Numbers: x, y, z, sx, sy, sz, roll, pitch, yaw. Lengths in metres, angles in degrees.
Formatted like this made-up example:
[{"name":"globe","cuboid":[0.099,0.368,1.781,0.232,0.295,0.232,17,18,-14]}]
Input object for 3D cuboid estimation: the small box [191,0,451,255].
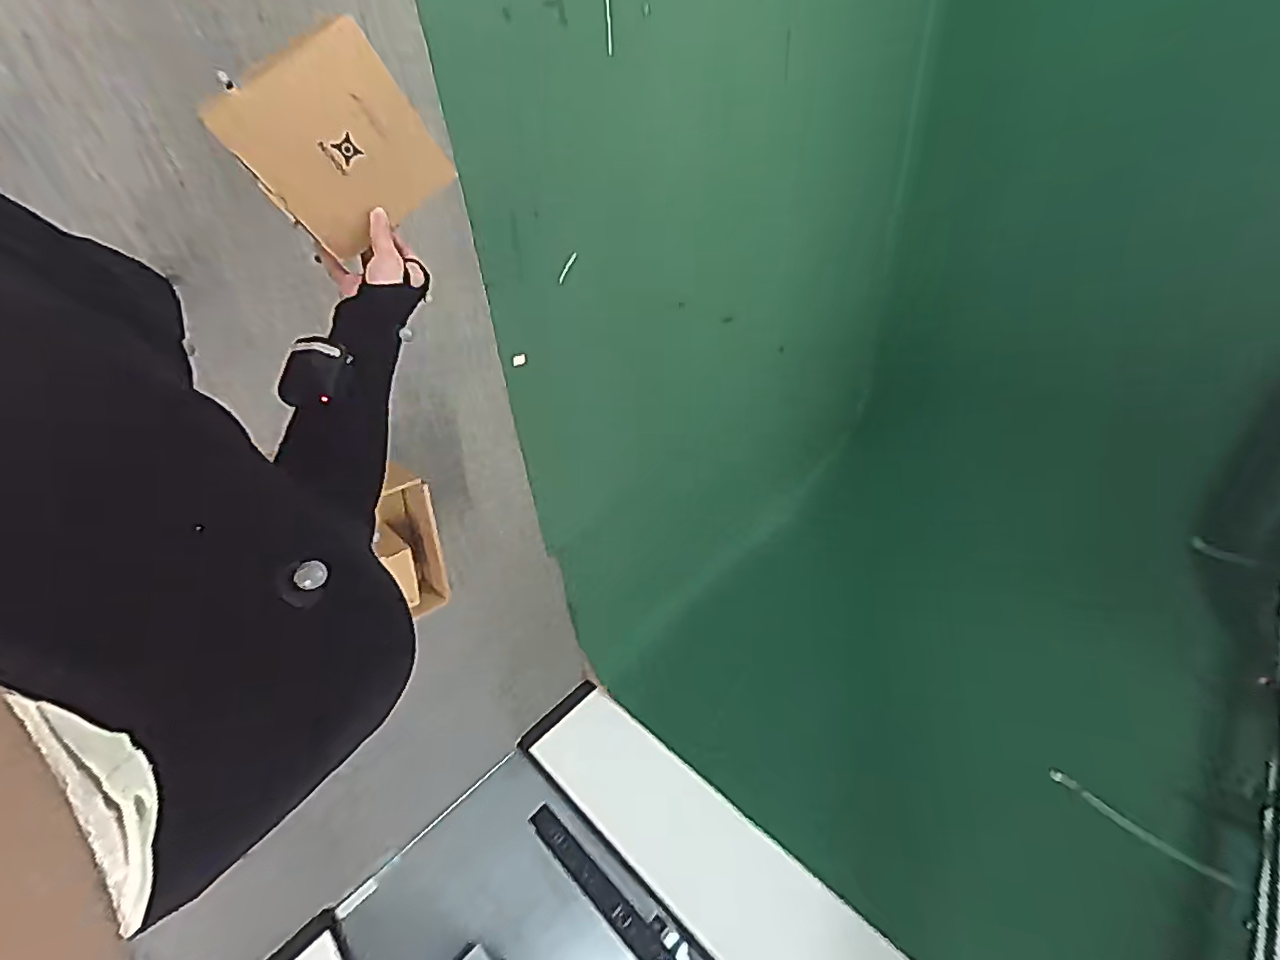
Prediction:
[{"name":"small box","cuboid":[-0.353,-0.390,0.607,0.179,0.176,0.168,-43,138,-5]}]
